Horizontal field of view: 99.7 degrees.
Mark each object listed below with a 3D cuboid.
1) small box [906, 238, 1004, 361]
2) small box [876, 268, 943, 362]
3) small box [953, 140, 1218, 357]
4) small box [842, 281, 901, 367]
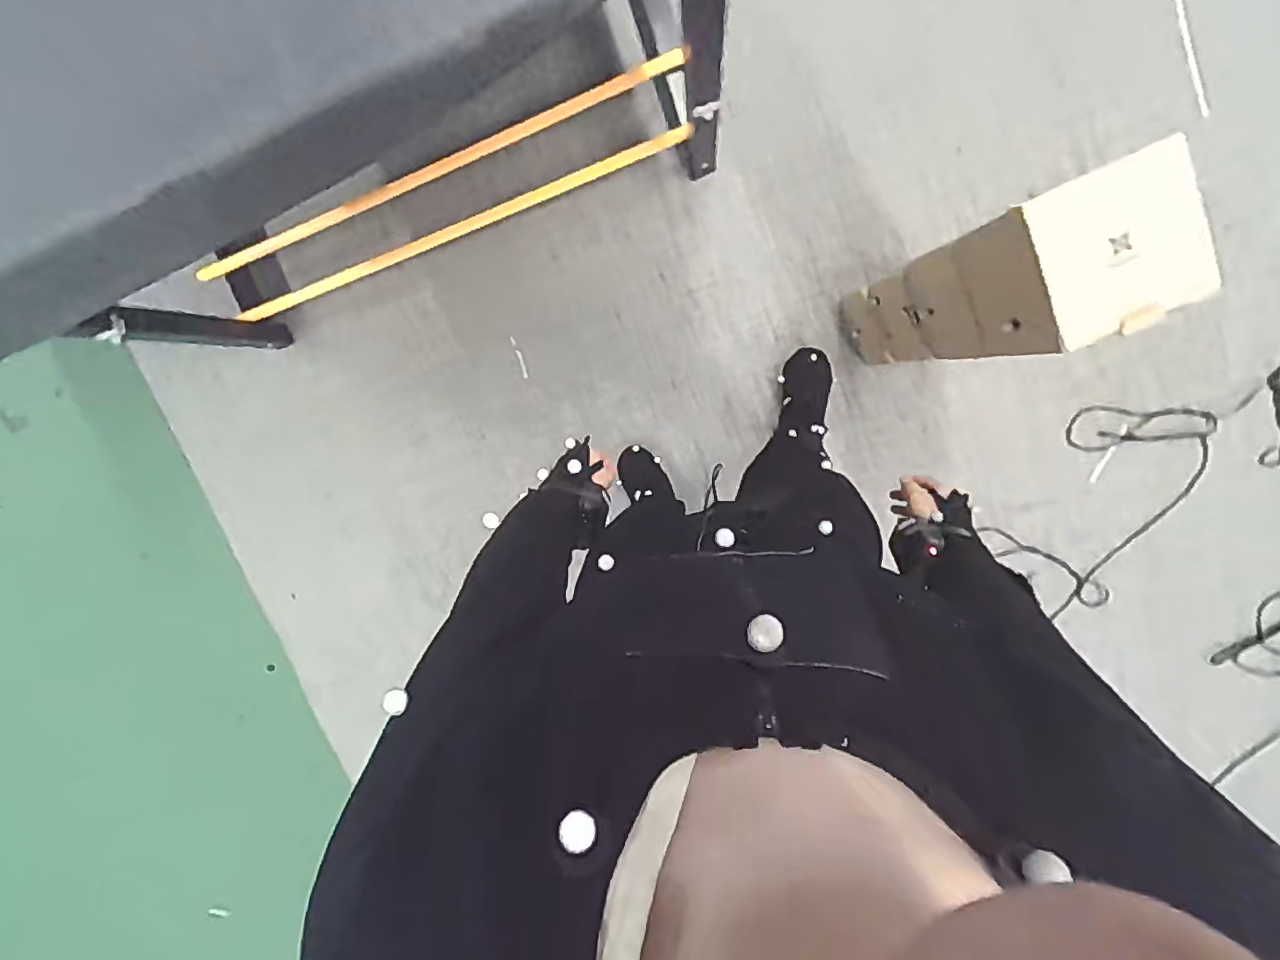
[{"bbox_3d":[0.540,-0.294,0.824,0.168,0.176,0.179,-23,98,9],"label":"small box"},{"bbox_3d":[0.553,-0.323,0.985,0.179,0.176,0.168,-23,98,9],"label":"small box"},{"bbox_3d":[0.526,-0.263,0.665,0.168,0.176,0.179,-23,97,9],"label":"small box"},{"bbox_3d":[0.558,-0.350,1.146,0.179,0.176,0.168,-24,97,10],"label":"small box"}]
